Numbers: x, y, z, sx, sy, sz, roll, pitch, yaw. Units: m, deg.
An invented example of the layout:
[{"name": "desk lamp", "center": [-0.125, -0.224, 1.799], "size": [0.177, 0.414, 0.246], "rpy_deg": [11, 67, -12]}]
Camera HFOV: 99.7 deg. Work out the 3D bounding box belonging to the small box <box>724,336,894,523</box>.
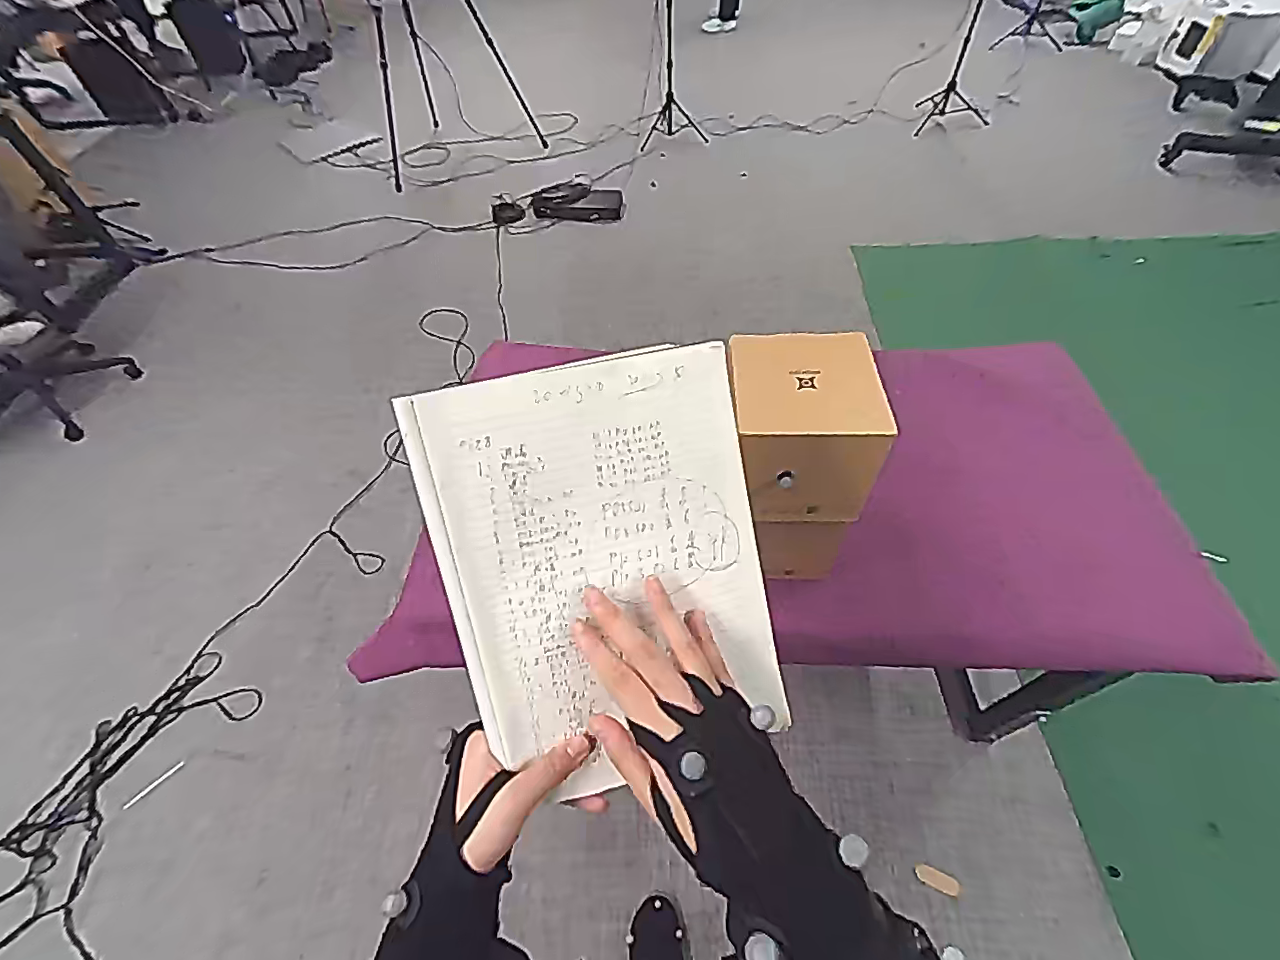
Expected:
[{"name": "small box", "center": [0.195, -0.059, 0.682], "size": [0.168, 0.176, 0.179], "rpy_deg": [0, 51, 4]}]
